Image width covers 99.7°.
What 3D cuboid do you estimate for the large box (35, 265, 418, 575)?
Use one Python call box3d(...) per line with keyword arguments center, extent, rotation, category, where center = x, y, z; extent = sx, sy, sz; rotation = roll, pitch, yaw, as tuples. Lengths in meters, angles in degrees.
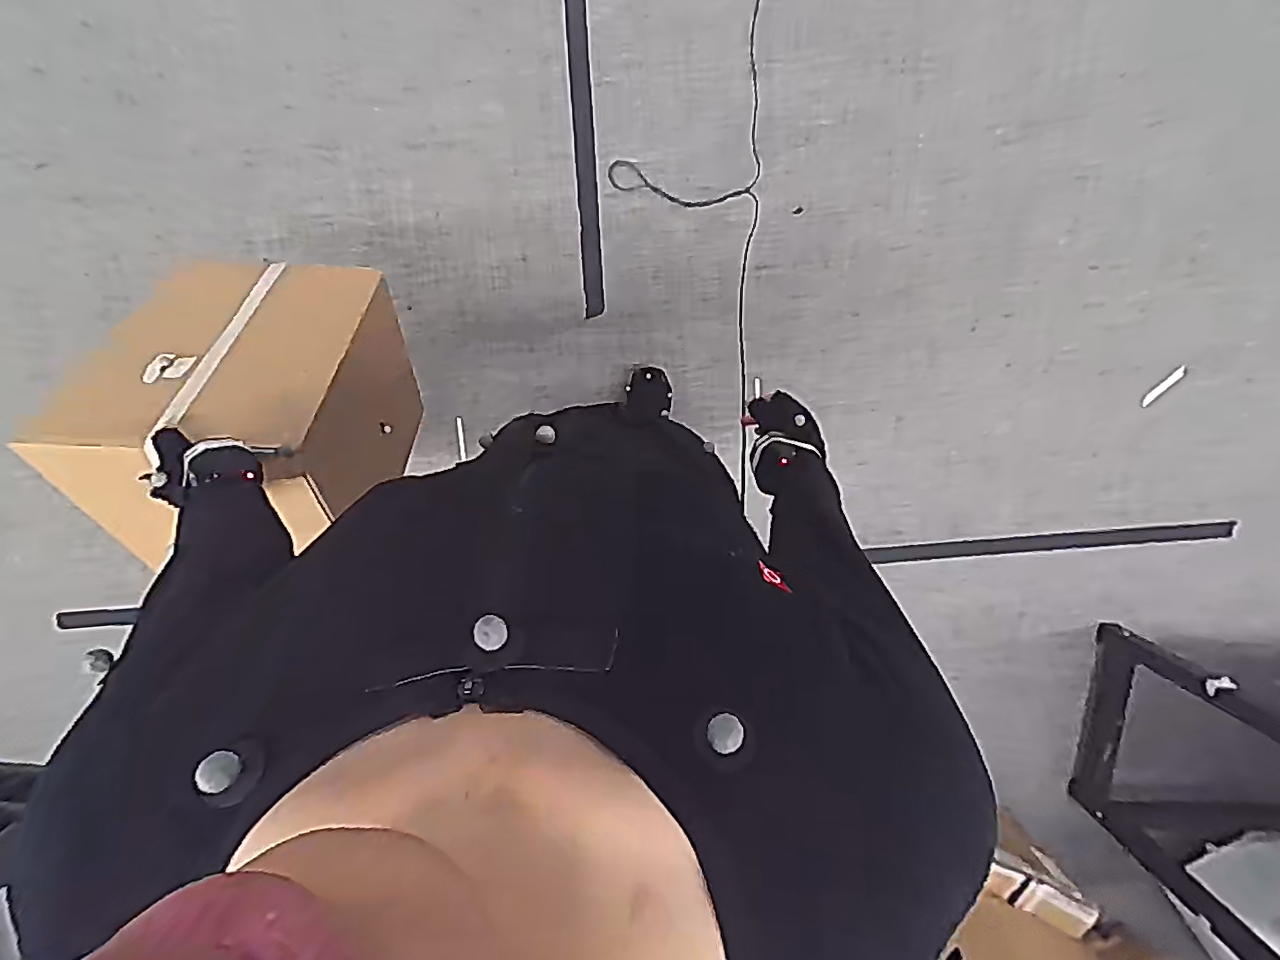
box3d(center=(-0.580, -0.095, 0.878), extent=(0.320, 0.408, 0.320), rotation=(0, 141, -6), category="large box")
